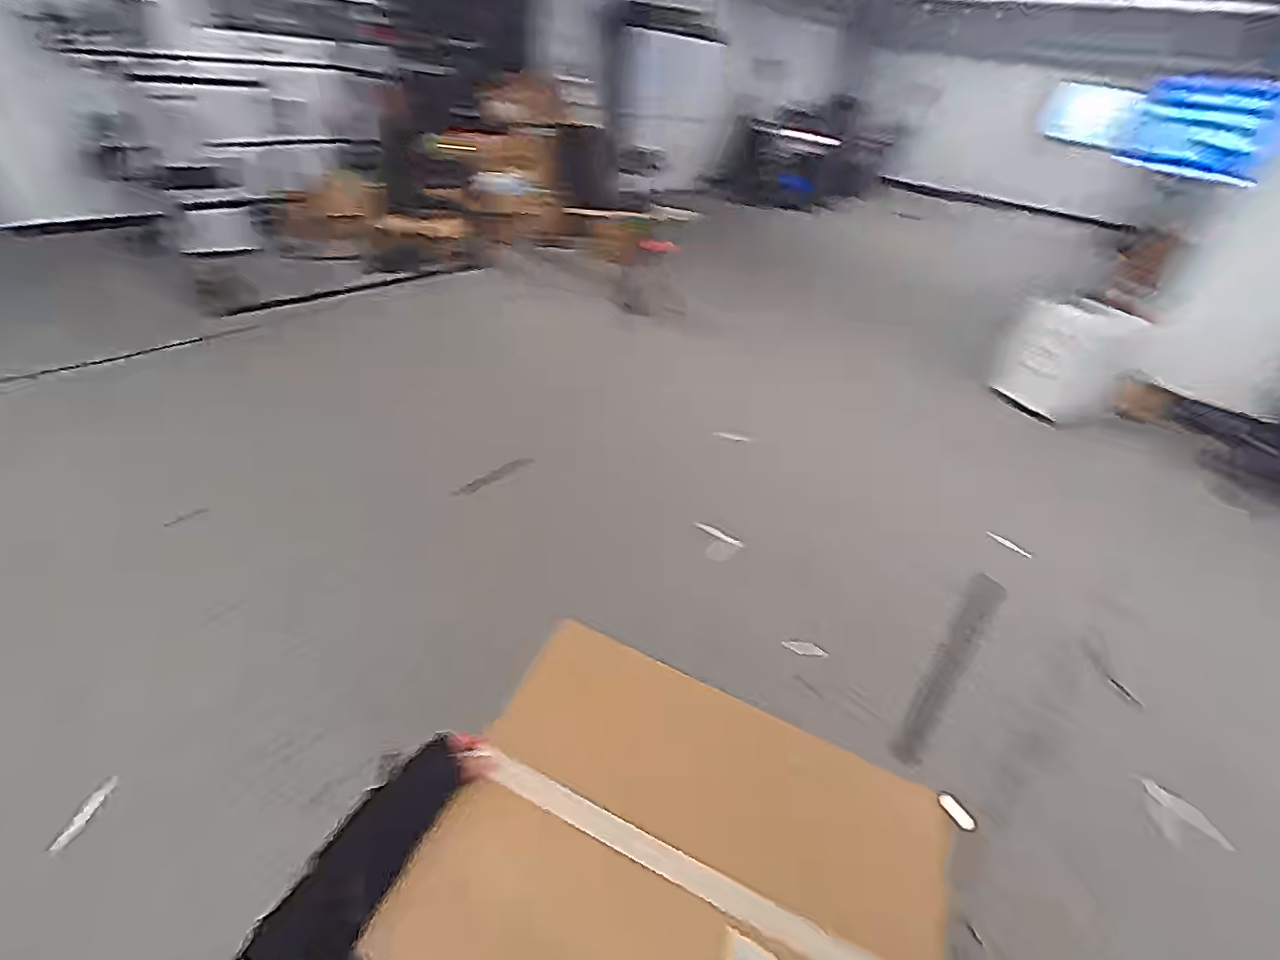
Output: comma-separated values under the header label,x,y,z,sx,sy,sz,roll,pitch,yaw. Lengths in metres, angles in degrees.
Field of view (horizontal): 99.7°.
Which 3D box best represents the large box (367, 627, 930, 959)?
label,x,y,z,sx,sy,sz,roll,pitch,yaw
large box,0.018,0.427,0.558,0.408,0.320,0.320,22,47,12
